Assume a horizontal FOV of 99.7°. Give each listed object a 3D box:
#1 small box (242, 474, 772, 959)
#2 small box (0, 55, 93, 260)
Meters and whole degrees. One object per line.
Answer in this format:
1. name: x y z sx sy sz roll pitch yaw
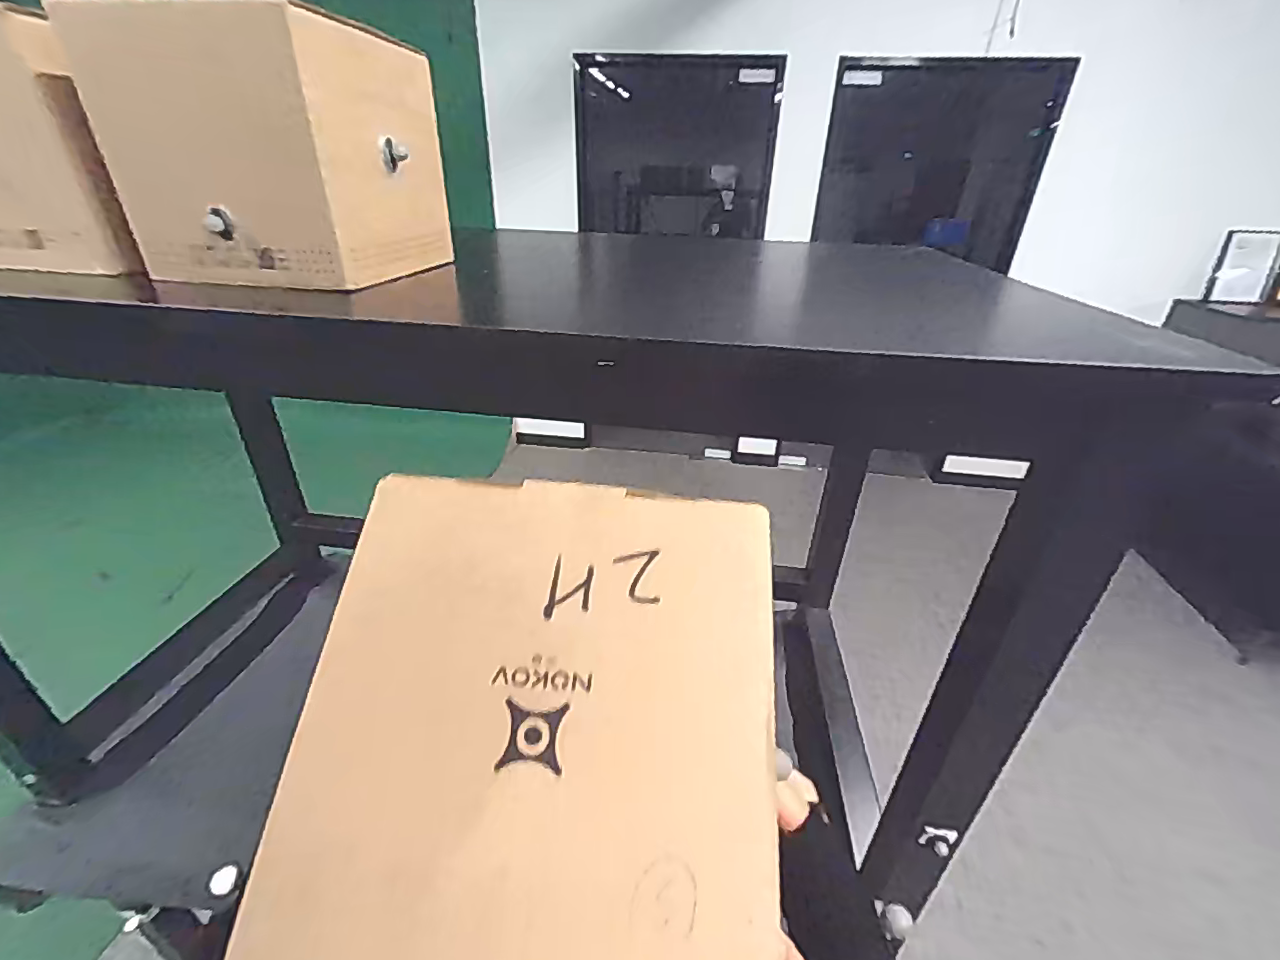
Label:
1. small box: -0.034 0.116 0.269 0.168 0.176 0.179 5 64 2
2. small box: -0.667 -0.293 0.491 0.168 0.176 0.179 5 30 6
